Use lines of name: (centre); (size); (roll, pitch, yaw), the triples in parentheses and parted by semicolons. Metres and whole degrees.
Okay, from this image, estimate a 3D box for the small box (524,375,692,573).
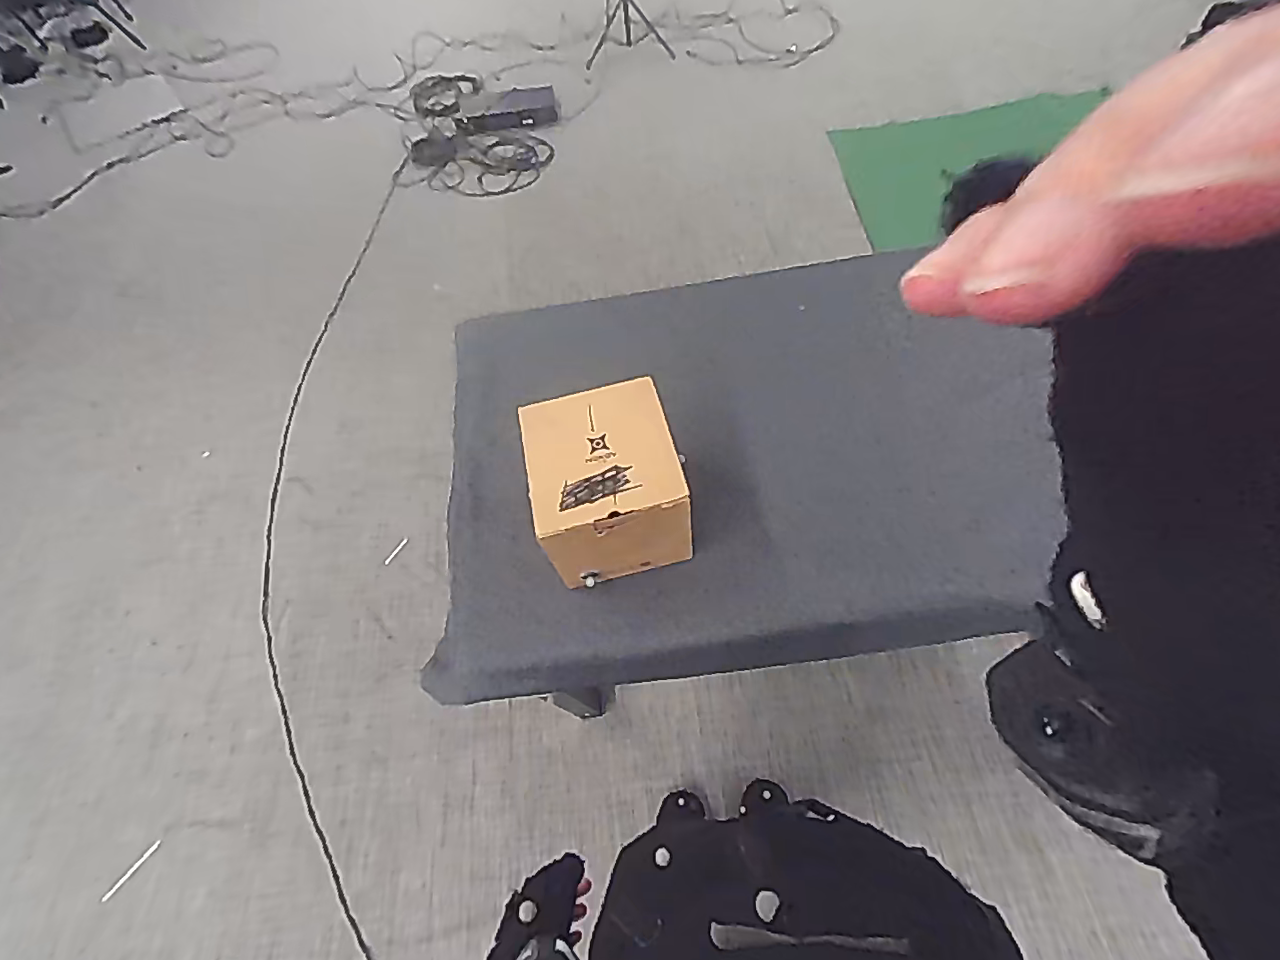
small box: (-0.034, 0.003, 0.675); (0.168, 0.176, 0.179); (-14, 59, -2)
